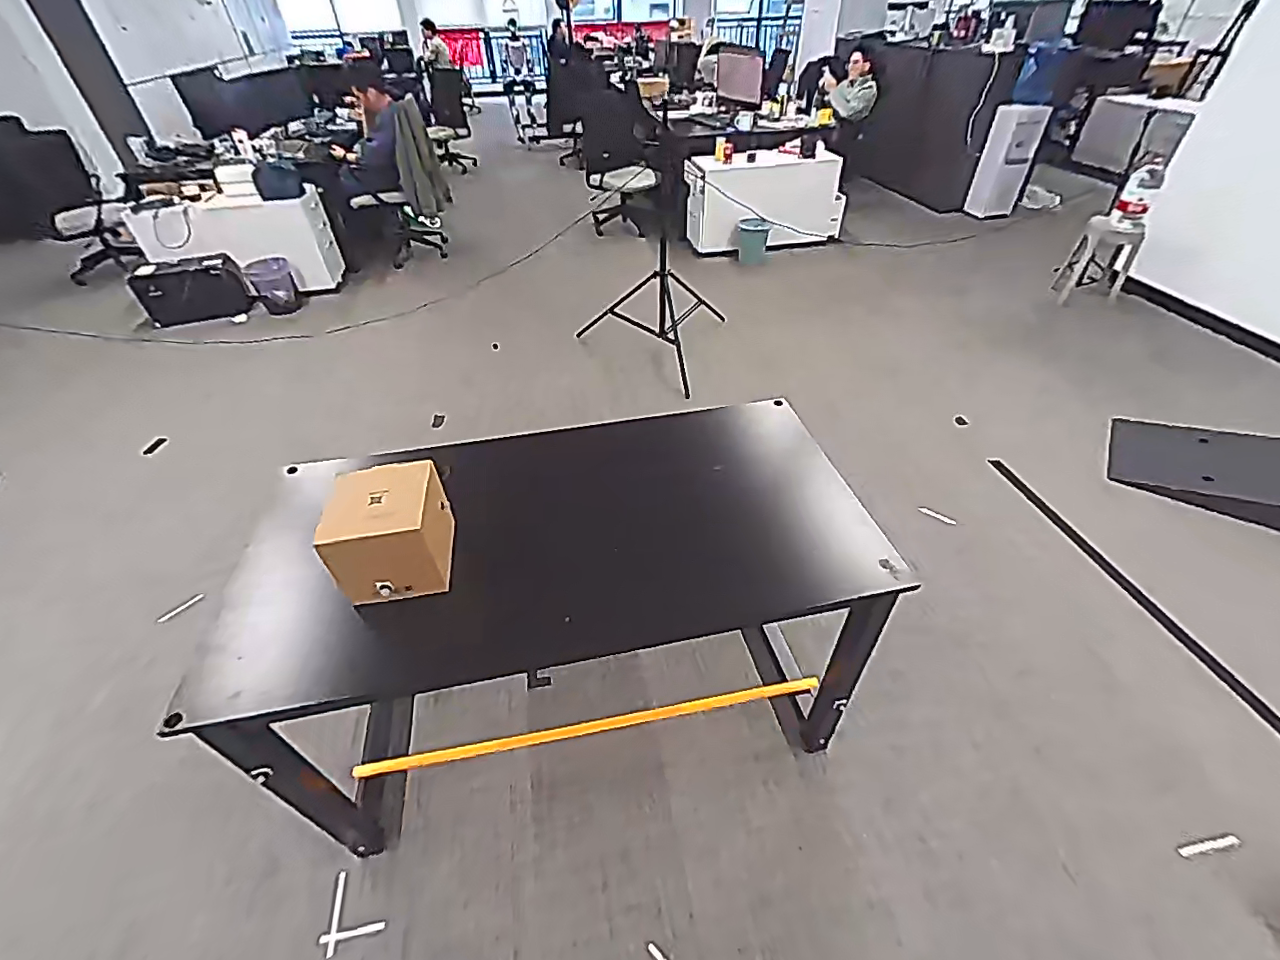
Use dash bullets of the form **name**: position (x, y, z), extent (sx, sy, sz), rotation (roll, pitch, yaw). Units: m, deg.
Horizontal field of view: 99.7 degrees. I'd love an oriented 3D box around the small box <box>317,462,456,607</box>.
- **small box**: position (-0.430, 0.095, 0.952), extent (0.168, 0.176, 0.179), rotation (-10, 43, -7)
